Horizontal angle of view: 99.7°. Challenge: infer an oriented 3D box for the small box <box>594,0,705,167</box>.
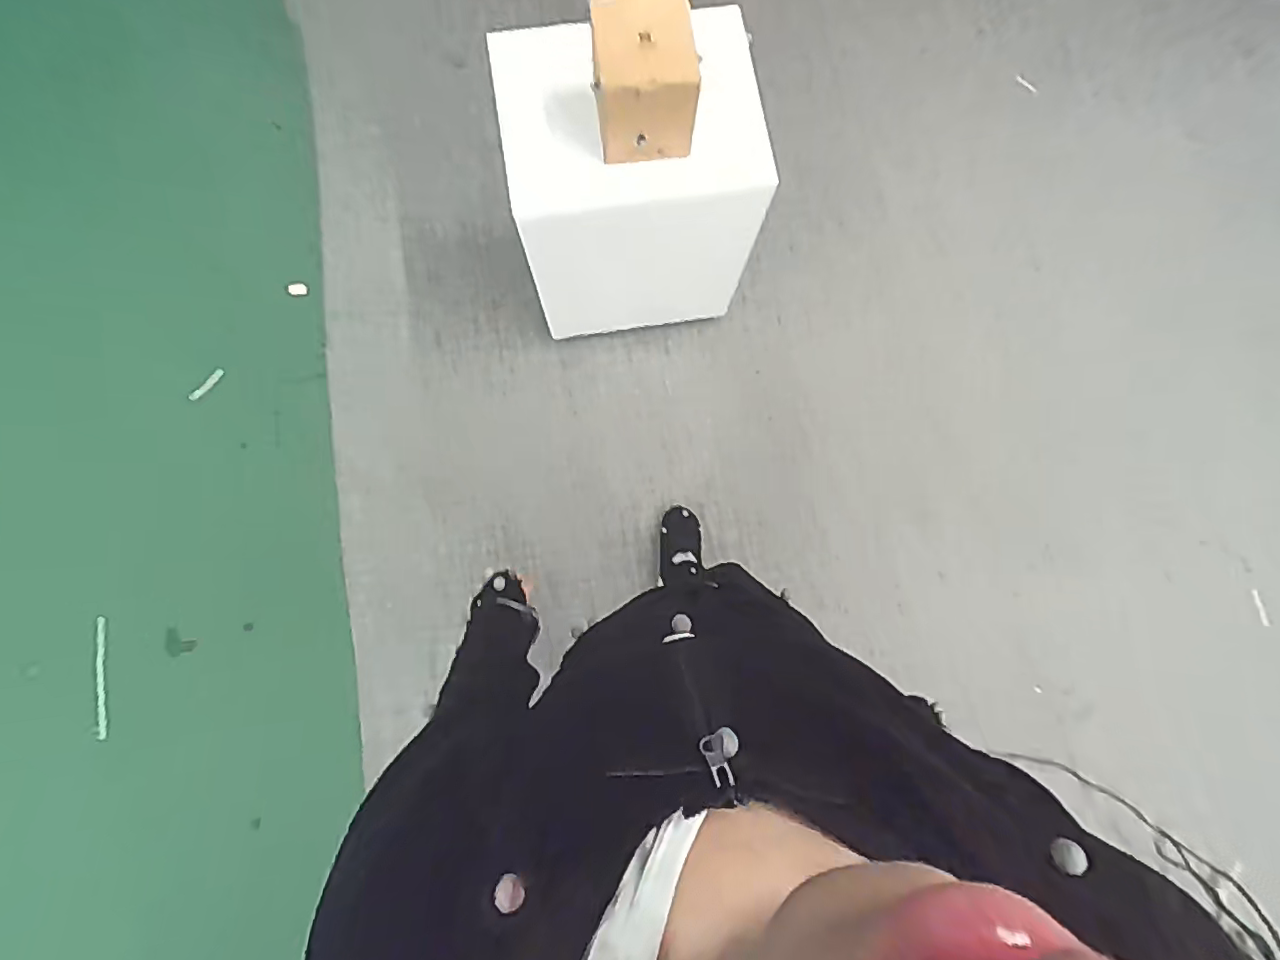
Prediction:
[{"bbox_3d":[0.011,-0.695,0.955,0.168,0.176,0.179,-8,81,-2],"label":"small box"}]
